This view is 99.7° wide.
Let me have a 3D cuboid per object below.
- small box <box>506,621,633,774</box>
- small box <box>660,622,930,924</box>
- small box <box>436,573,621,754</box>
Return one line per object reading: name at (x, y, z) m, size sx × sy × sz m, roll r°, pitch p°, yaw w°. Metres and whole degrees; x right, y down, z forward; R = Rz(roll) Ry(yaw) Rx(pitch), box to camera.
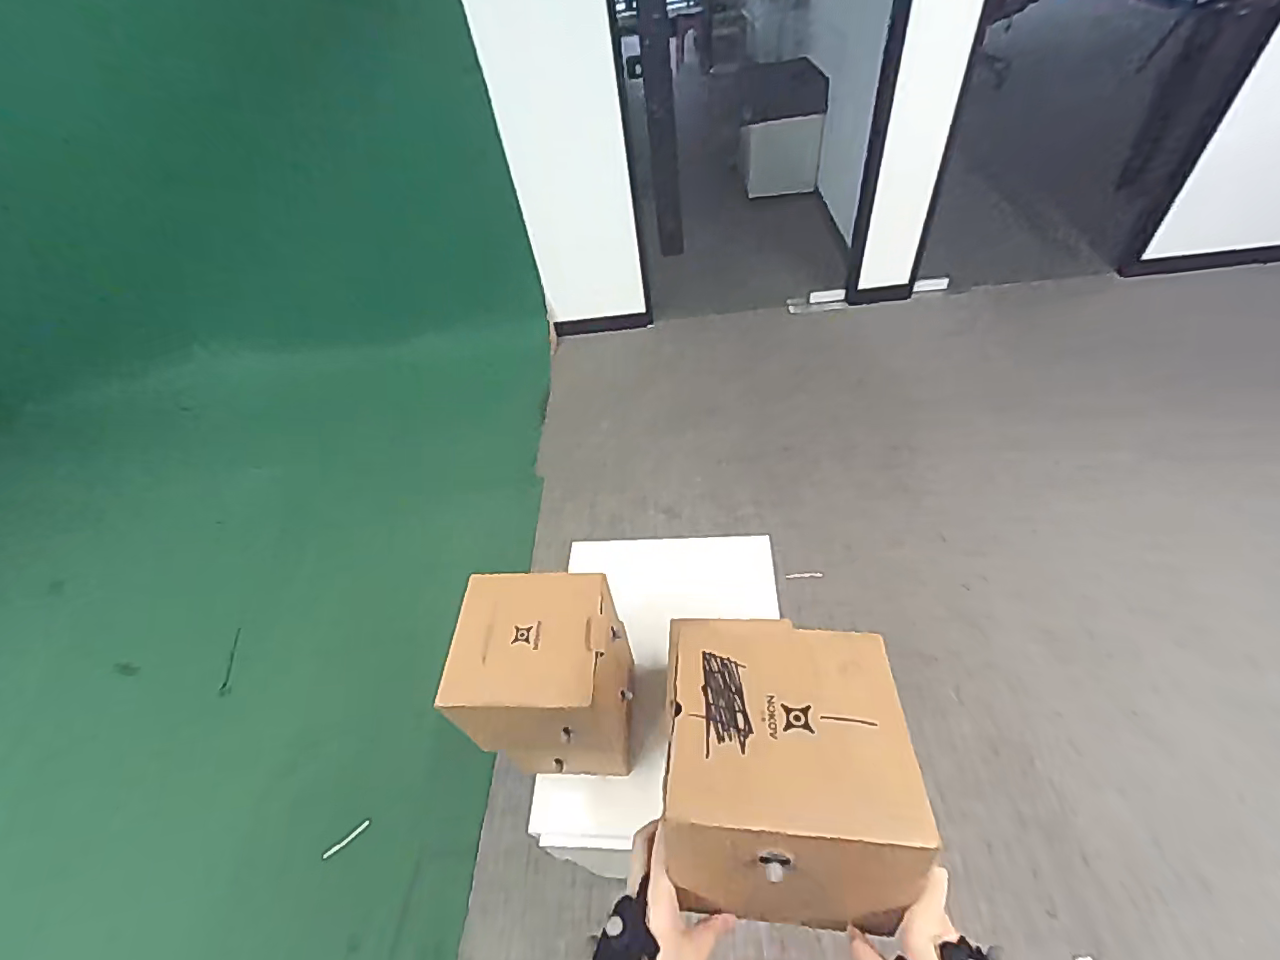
small box at (-0.103, 0.327, 0.811) m, size 0.168 × 0.176 × 0.179 m, roll -1°, pitch 49°, yaw 6°
small box at (0.117, 0.243, 0.461) m, size 0.179 × 0.176 × 0.168 m, roll 1°, pitch 35°, yaw 9°
small box at (-0.121, 0.232, 0.680) m, size 0.179 × 0.176 × 0.168 m, roll -3°, pitch 48°, yaw 7°
